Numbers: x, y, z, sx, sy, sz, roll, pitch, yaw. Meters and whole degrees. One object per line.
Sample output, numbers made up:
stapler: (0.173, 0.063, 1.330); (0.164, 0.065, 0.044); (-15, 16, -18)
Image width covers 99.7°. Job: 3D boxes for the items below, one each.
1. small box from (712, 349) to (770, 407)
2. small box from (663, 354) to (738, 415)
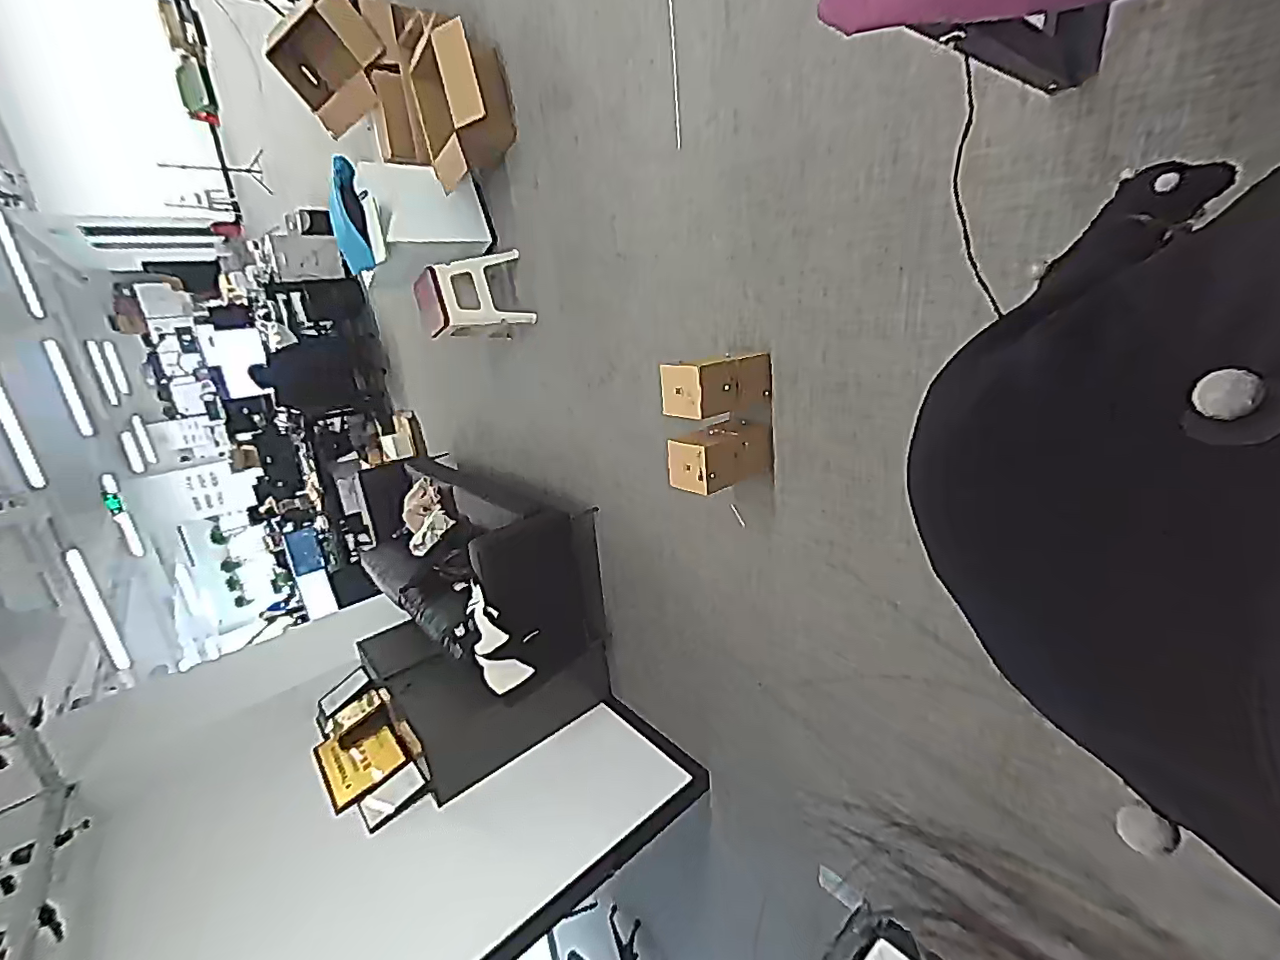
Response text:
small box: (0.325, -0.351, 1.831); (0.179, 0.176, 0.168); (16, 118, 49)
small box: (0.195, -0.311, 1.739); (0.179, 0.176, 0.168); (17, 119, 48)
